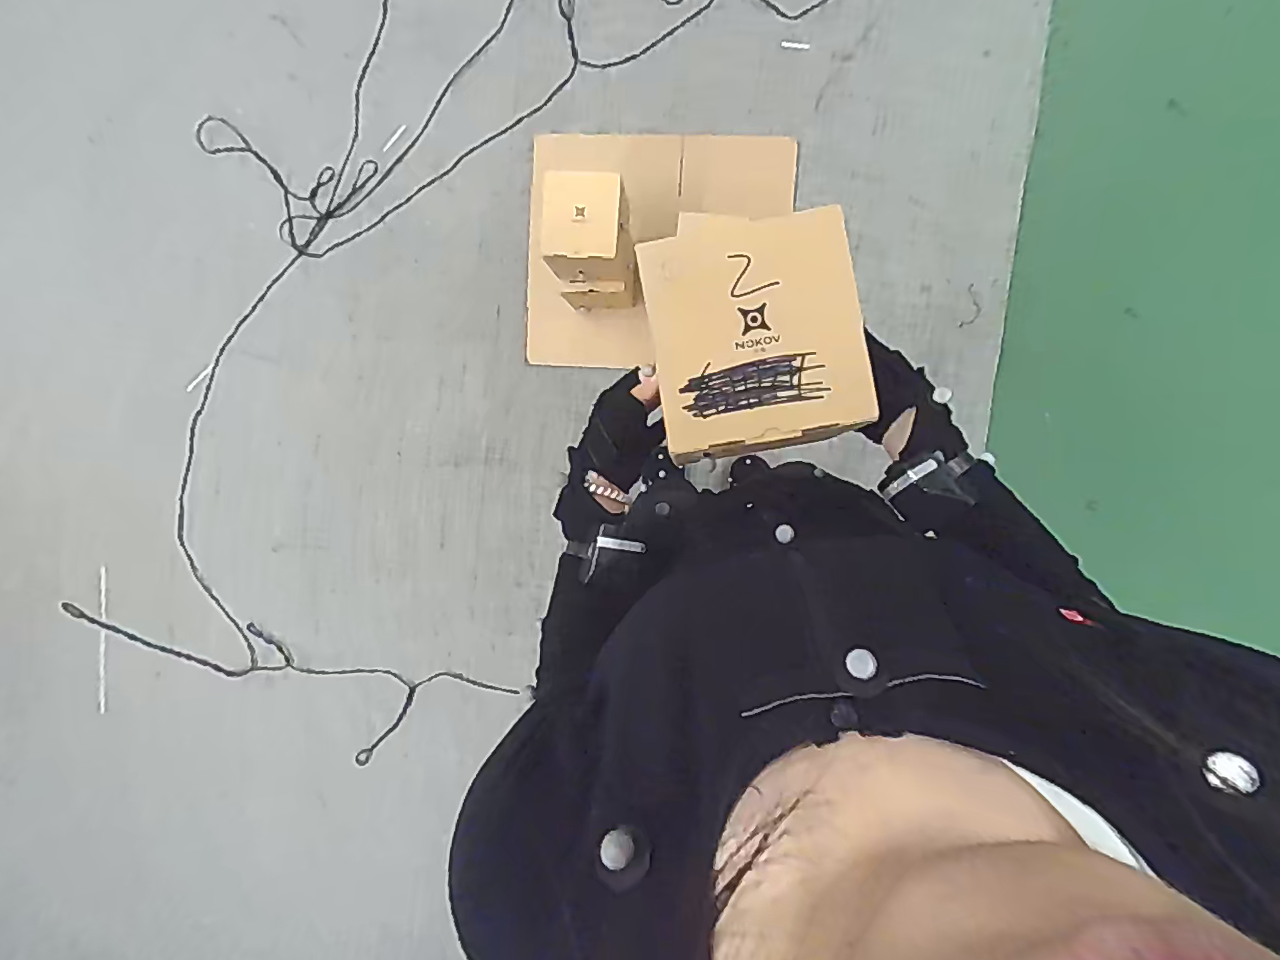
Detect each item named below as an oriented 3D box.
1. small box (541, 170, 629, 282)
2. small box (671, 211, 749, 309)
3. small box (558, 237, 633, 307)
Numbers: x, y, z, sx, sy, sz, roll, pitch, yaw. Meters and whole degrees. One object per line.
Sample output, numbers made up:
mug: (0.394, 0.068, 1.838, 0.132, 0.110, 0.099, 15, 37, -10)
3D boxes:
small box: (-0.117, -0.560, 1.208, 0.168, 0.176, 0.179, 4, 94, 5)
small box: (0.171, -0.542, 1.348, 0.168, 0.176, 0.179, 8, 96, 6)
small box: (-0.107, -0.544, 1.372, 0.168, 0.176, 0.179, 1, 94, 5)
